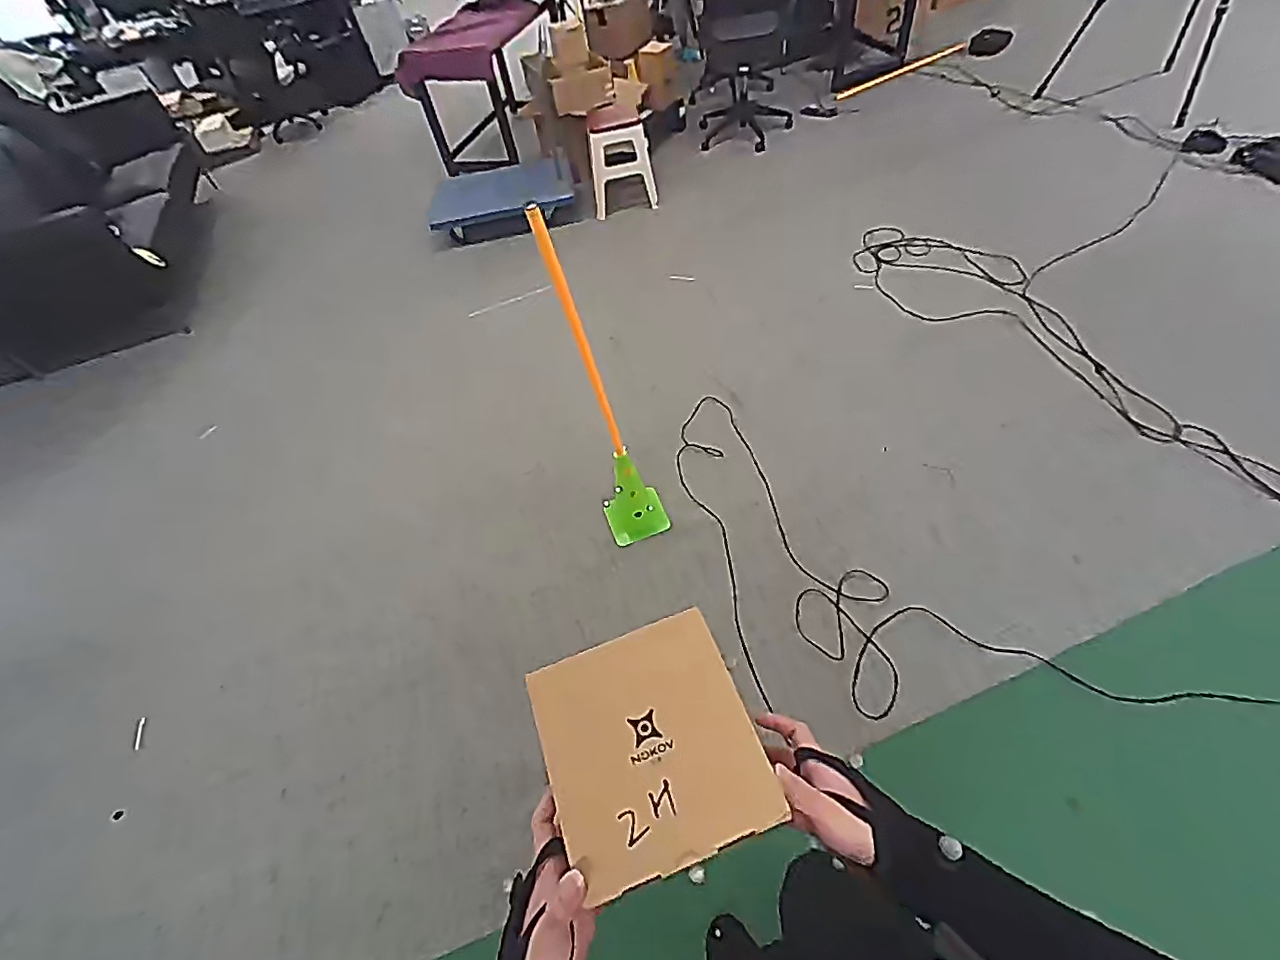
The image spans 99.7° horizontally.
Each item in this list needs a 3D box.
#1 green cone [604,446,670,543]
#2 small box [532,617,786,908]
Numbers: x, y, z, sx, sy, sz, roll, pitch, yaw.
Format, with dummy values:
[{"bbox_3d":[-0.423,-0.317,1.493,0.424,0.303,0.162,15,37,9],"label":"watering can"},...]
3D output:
[{"bbox_3d":[-0.033,0.020,1.800,0.202,0.368,0.200,-19,53,-7],"label":"green cone"},{"bbox_3d":[0.014,0.259,0.504,0.168,0.176,0.179,-19,57,-6],"label":"small box"}]
